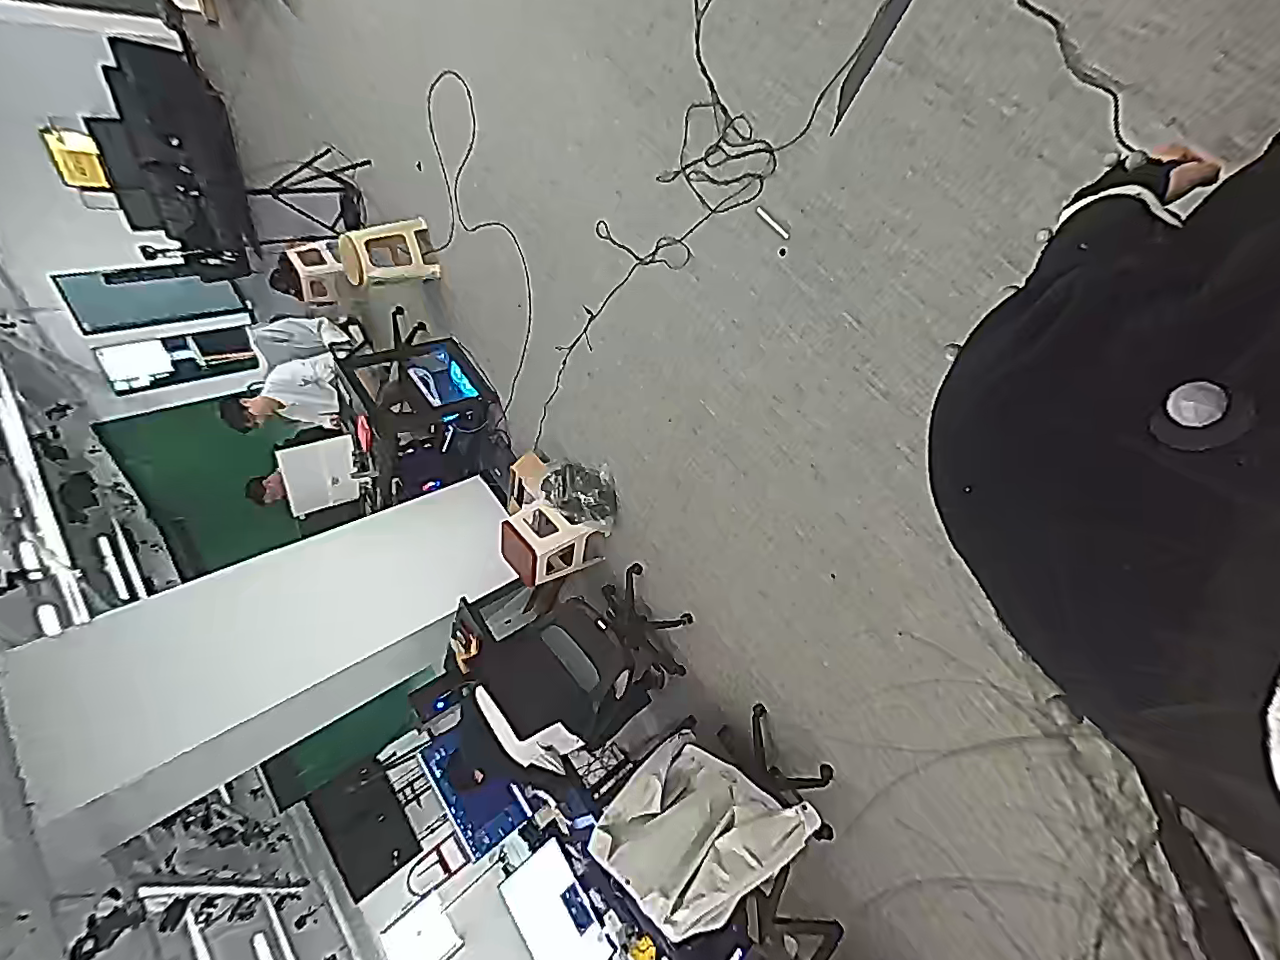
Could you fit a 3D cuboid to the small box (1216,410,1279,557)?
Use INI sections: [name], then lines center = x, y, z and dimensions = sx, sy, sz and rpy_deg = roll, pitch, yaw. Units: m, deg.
[small box]
center = 0.944, 0.009, 0.740
dimensions = 0.179, 0.176, 0.168
rpy_deg = 18, 123, 47
